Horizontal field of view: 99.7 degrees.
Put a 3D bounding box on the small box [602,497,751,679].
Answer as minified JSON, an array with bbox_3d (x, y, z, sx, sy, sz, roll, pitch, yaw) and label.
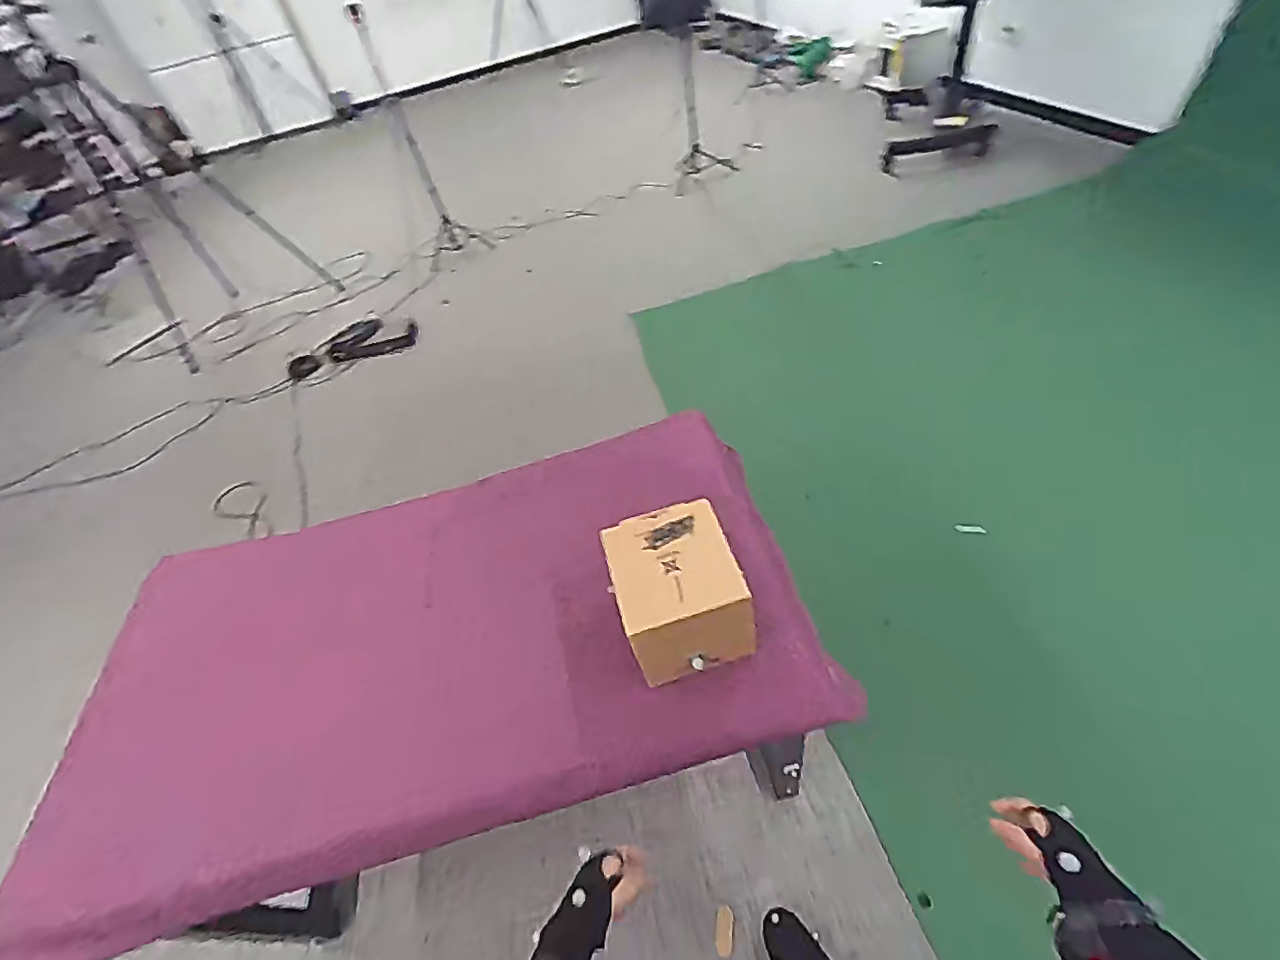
[{"bbox_3d":[0.054,0.159,0.790,0.168,0.176,0.179,-18,46,-1],"label":"small box"}]
